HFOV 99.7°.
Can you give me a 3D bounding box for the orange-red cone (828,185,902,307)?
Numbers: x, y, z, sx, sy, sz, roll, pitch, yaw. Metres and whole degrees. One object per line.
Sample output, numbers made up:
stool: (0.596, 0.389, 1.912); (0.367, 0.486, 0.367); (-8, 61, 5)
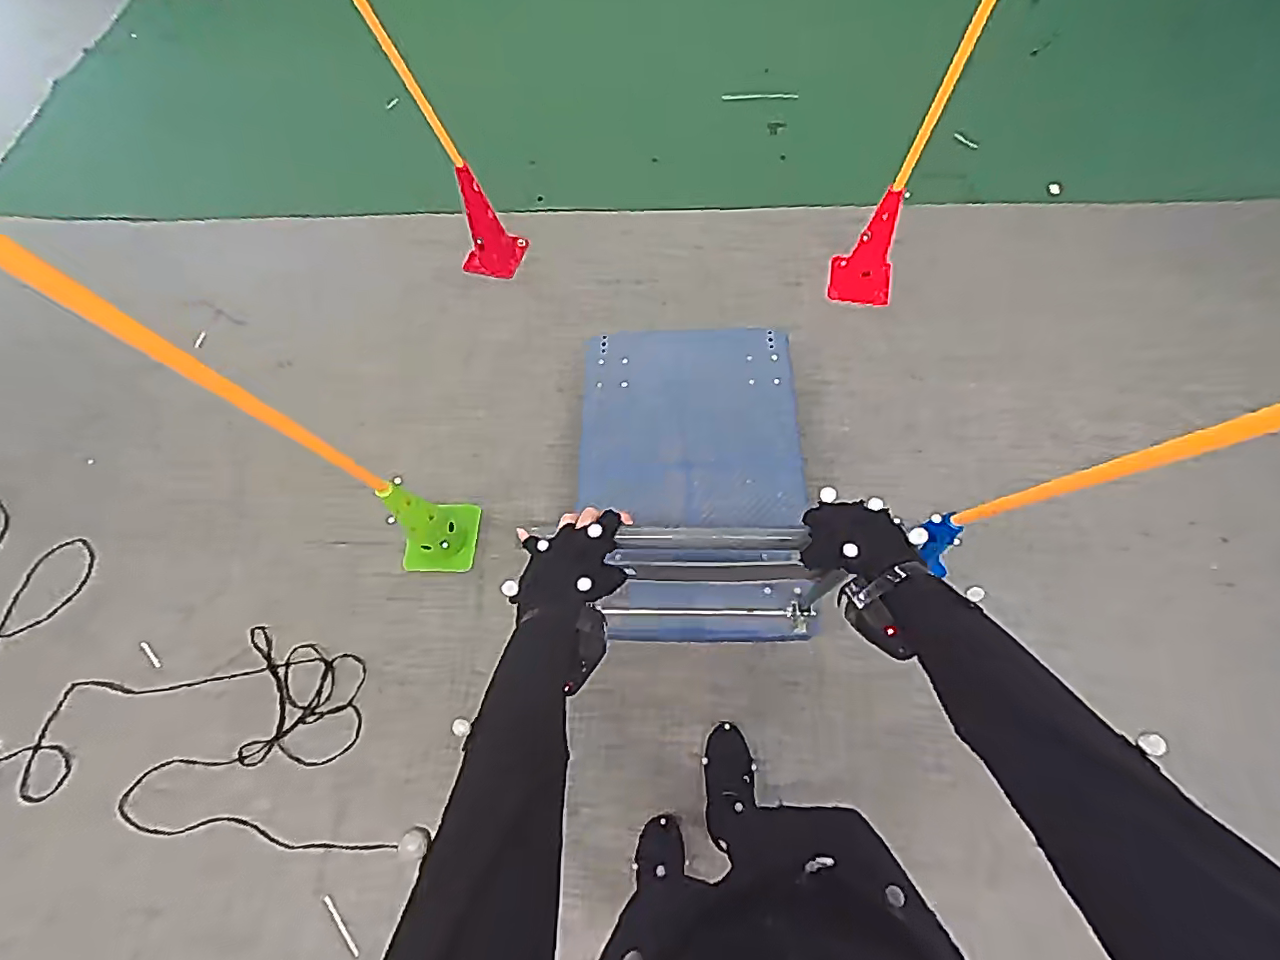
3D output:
orange-red cone: (0.732, -0.741, 1.676); (0.198, 0.360, 0.199); (11, 68, 10)
